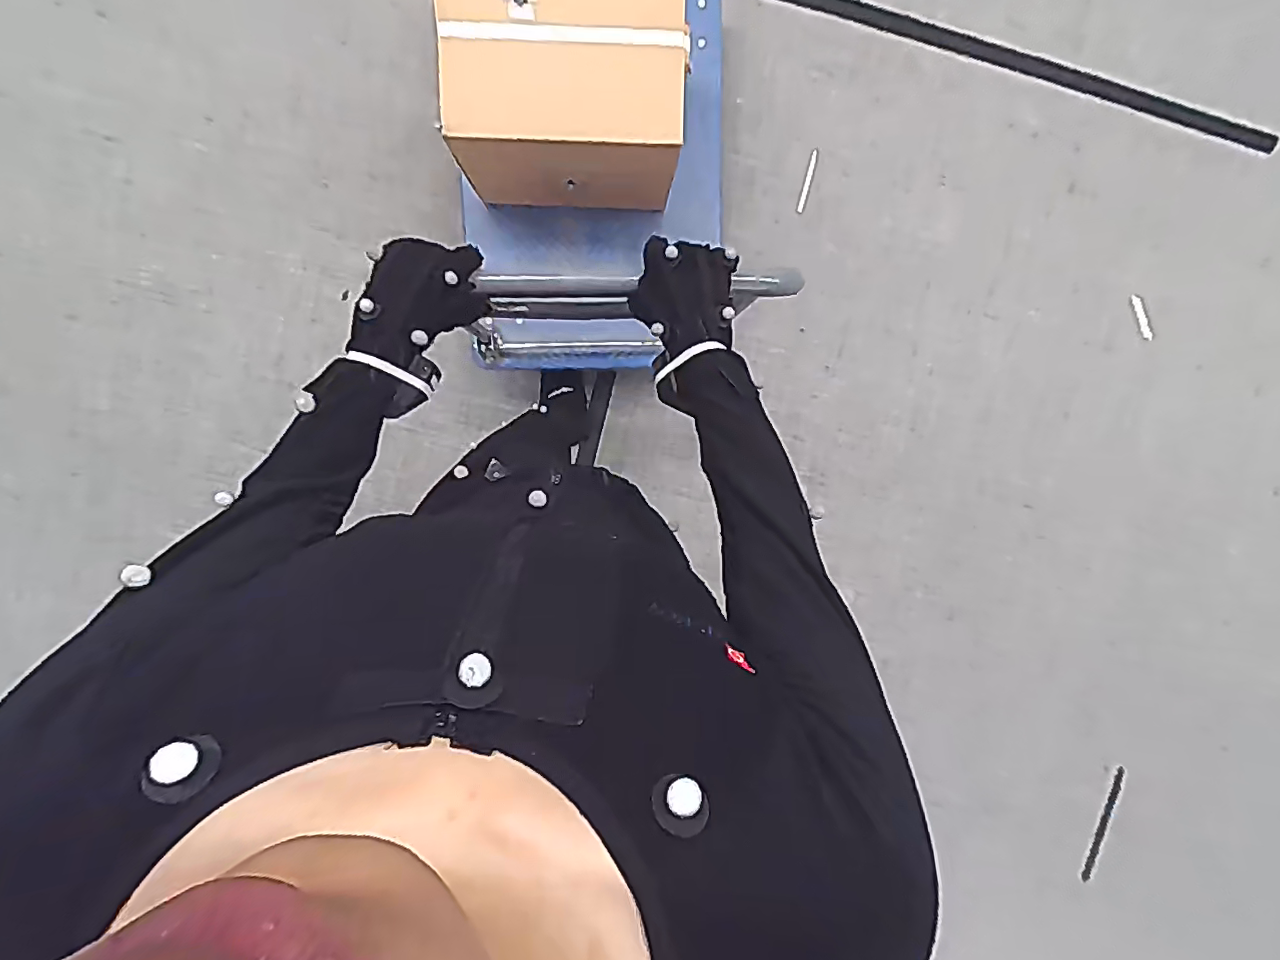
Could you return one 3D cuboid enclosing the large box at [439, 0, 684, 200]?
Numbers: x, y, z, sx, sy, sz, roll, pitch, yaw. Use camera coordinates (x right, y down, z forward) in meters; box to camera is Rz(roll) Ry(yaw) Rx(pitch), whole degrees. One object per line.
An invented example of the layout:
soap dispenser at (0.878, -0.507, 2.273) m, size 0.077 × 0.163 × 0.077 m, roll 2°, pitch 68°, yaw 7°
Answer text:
large box at (-0.130, -0.749, 1.030) m, size 0.408 × 0.320 × 0.320 m, roll 0°, pitch 98°, yaw -3°
